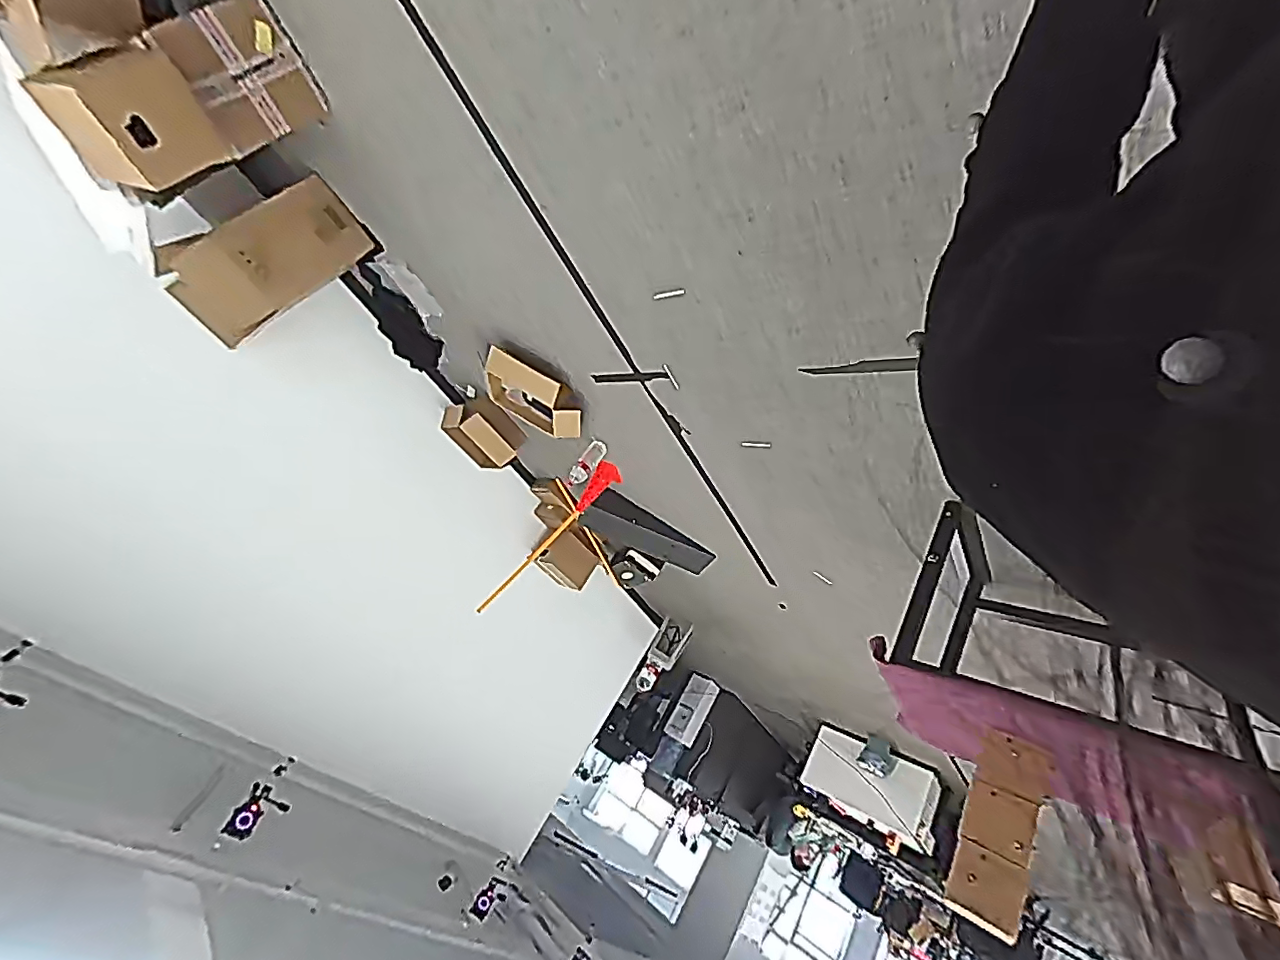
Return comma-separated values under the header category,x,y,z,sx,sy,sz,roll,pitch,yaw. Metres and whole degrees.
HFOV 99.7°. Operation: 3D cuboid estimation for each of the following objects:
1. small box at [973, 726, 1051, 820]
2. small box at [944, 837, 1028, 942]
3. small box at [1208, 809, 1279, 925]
category,x,y,z,sx,sy,sz,roll,pitch,yaw
small box,1.122,0.881,1.633,0.168,0.176,0.179,11,146,40
small box,0.952,1.120,1.490,0.168,0.176,0.179,14,149,39
small box,1.465,0.913,1.261,0.168,0.176,0.179,9,144,44
